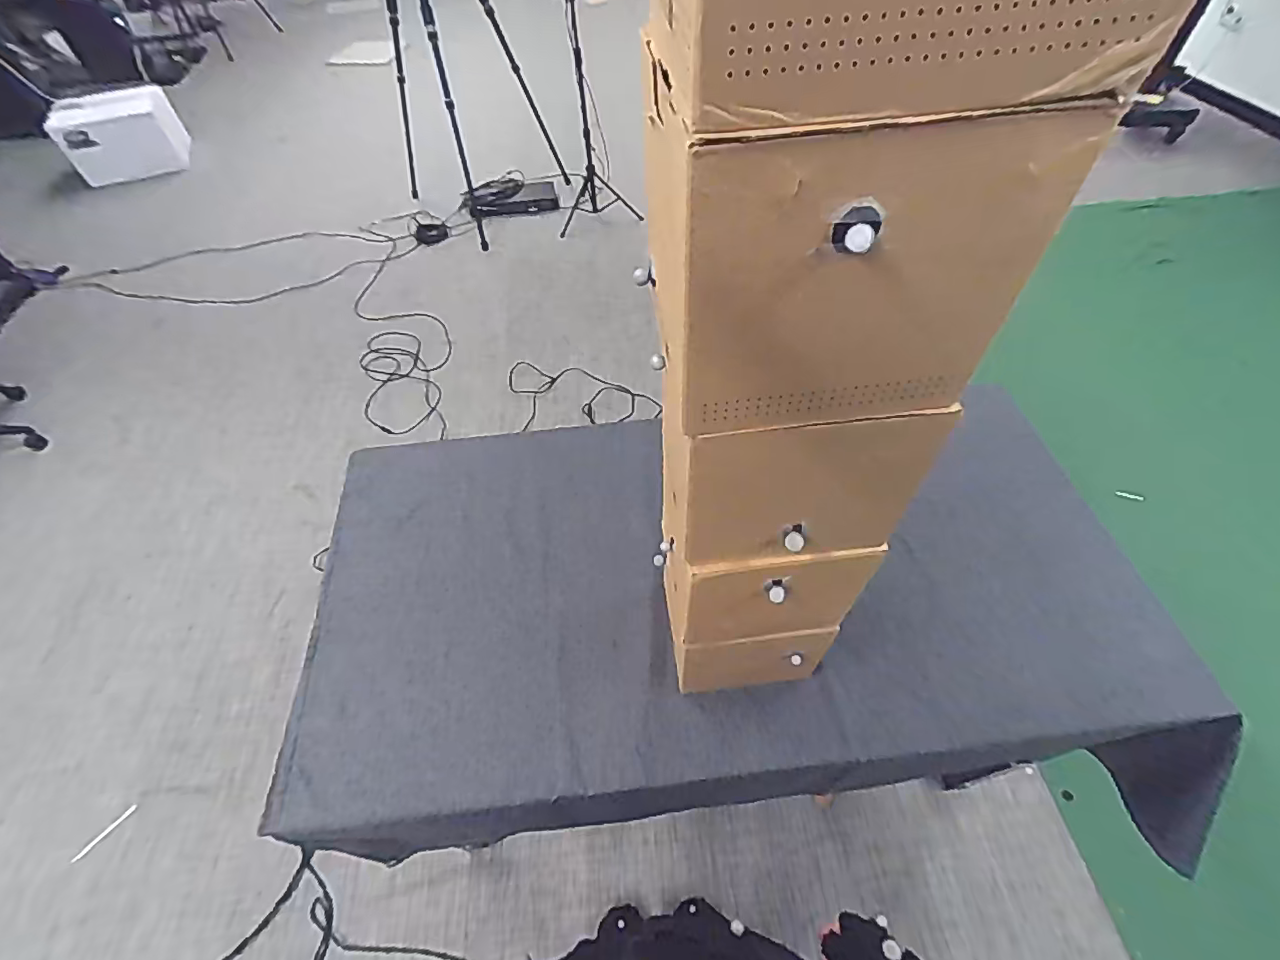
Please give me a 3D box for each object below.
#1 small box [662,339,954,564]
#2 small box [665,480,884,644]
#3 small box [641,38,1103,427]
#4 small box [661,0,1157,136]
[{"bbox_3d":[0.113,-0.044,0.454,0.179,0.176,0.168,-5,52,-1],"label":"small box"},{"bbox_3d":[0.123,0.060,0.579,0.179,0.176,0.168,-7,52,-2],"label":"small box"},{"bbox_3d":[0.099,-0.148,0.327,0.179,0.176,0.168,-6,53,-2],"label":"small box"},{"bbox_3d":[0.095,-0.248,0.198,0.179,0.176,0.168,-5,53,0],"label":"small box"}]
